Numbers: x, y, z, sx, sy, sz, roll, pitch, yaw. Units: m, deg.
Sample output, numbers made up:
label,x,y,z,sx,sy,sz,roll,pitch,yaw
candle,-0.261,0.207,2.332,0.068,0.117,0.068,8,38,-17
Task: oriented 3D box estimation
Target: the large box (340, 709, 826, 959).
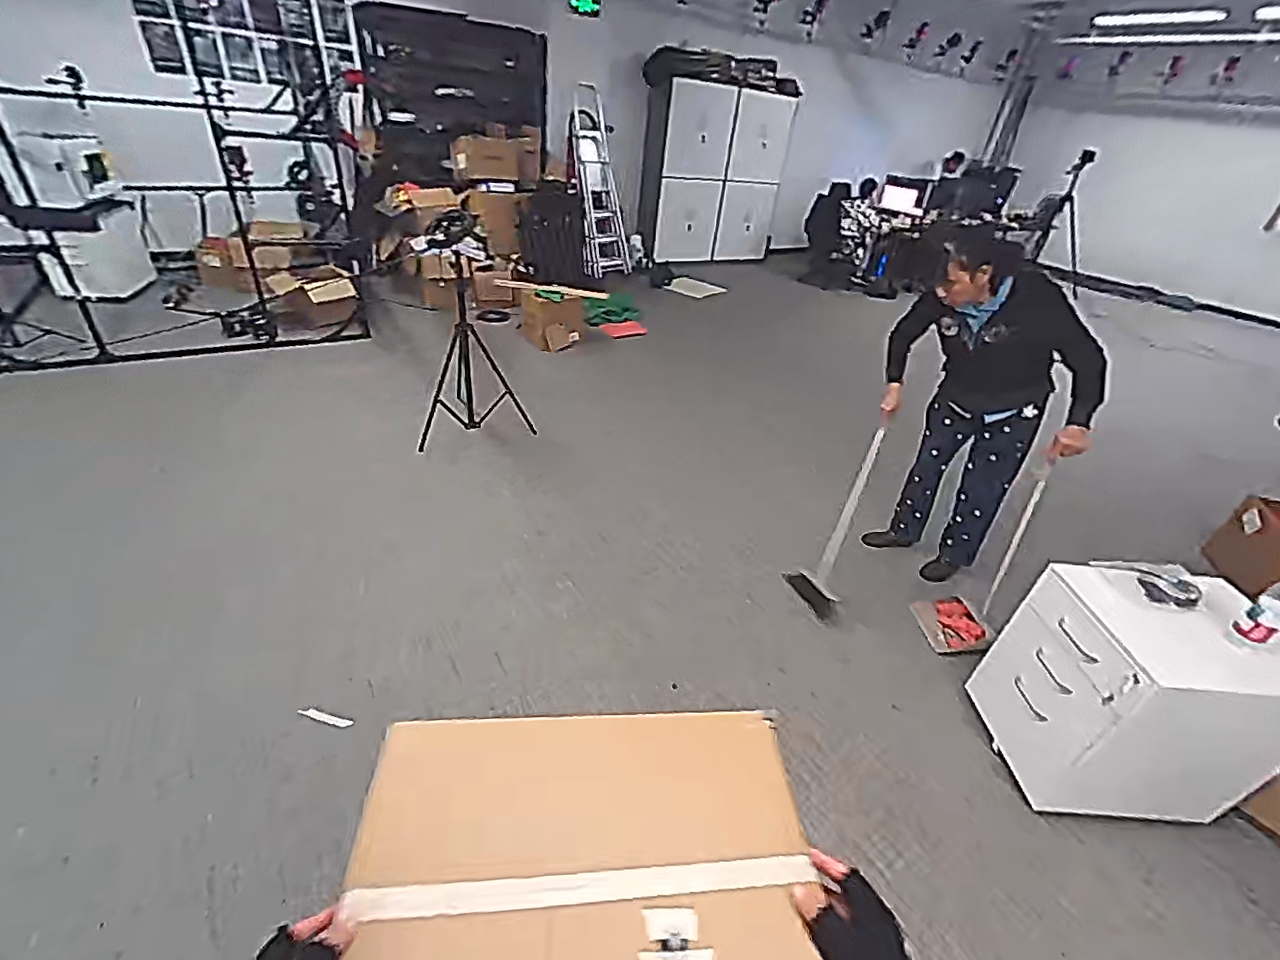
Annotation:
label,x,y,z,sx,sy,sz,roll,pitch,yaw
large box,-0.063,0.478,0.570,0.408,0.320,0.320,1,38,-9
